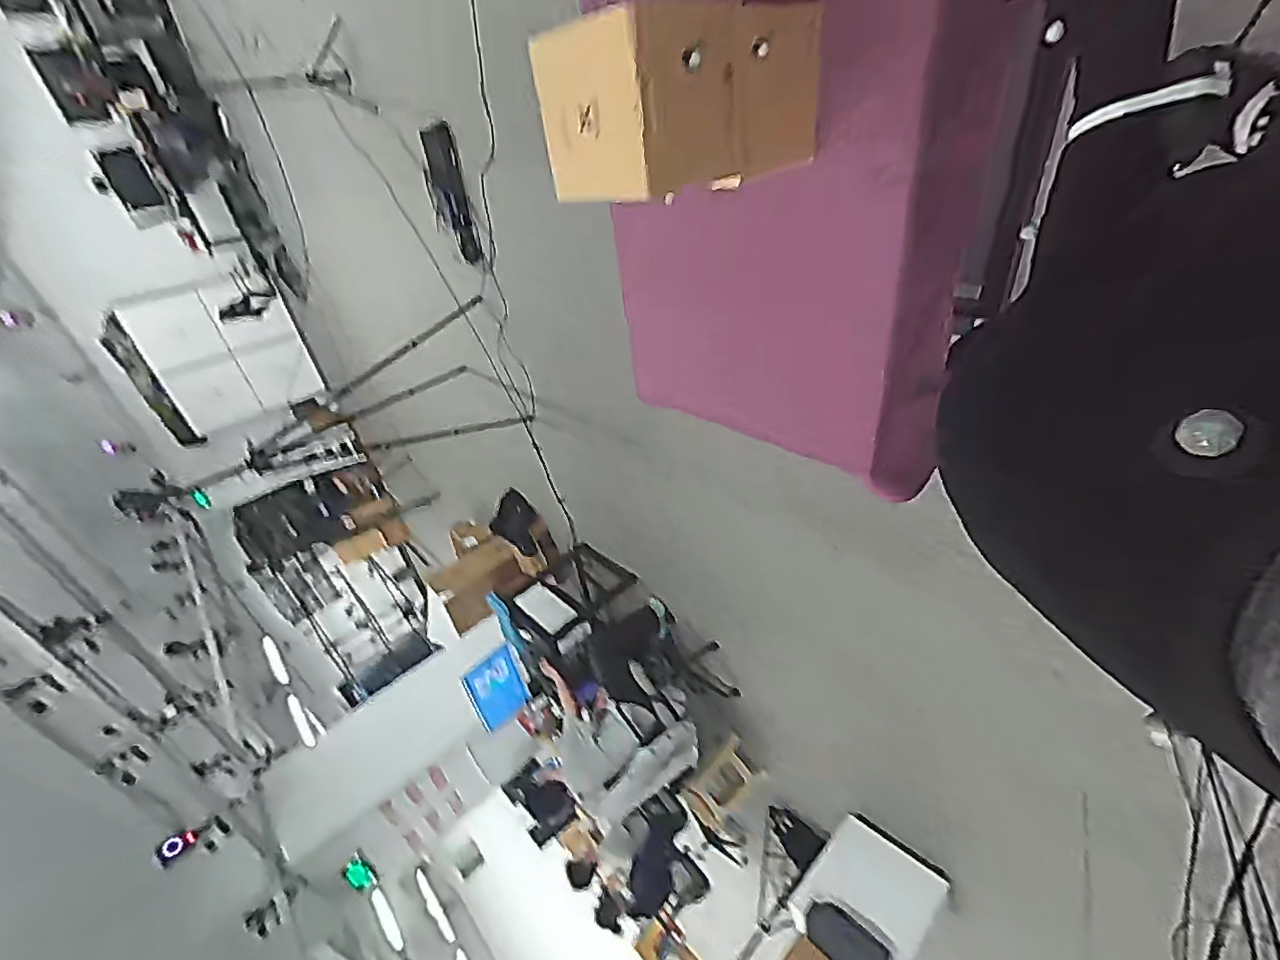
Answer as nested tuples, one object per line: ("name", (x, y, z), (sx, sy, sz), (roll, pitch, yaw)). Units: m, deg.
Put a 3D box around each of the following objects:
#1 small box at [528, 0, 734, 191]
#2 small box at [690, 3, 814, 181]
("small box", (-0.002, -0.449, 0.643), (0.179, 0.176, 0.168), (27, 136, 41))
("small box", (0.116, -0.517, 0.731), (0.168, 0.176, 0.179), (28, 137, 40))
